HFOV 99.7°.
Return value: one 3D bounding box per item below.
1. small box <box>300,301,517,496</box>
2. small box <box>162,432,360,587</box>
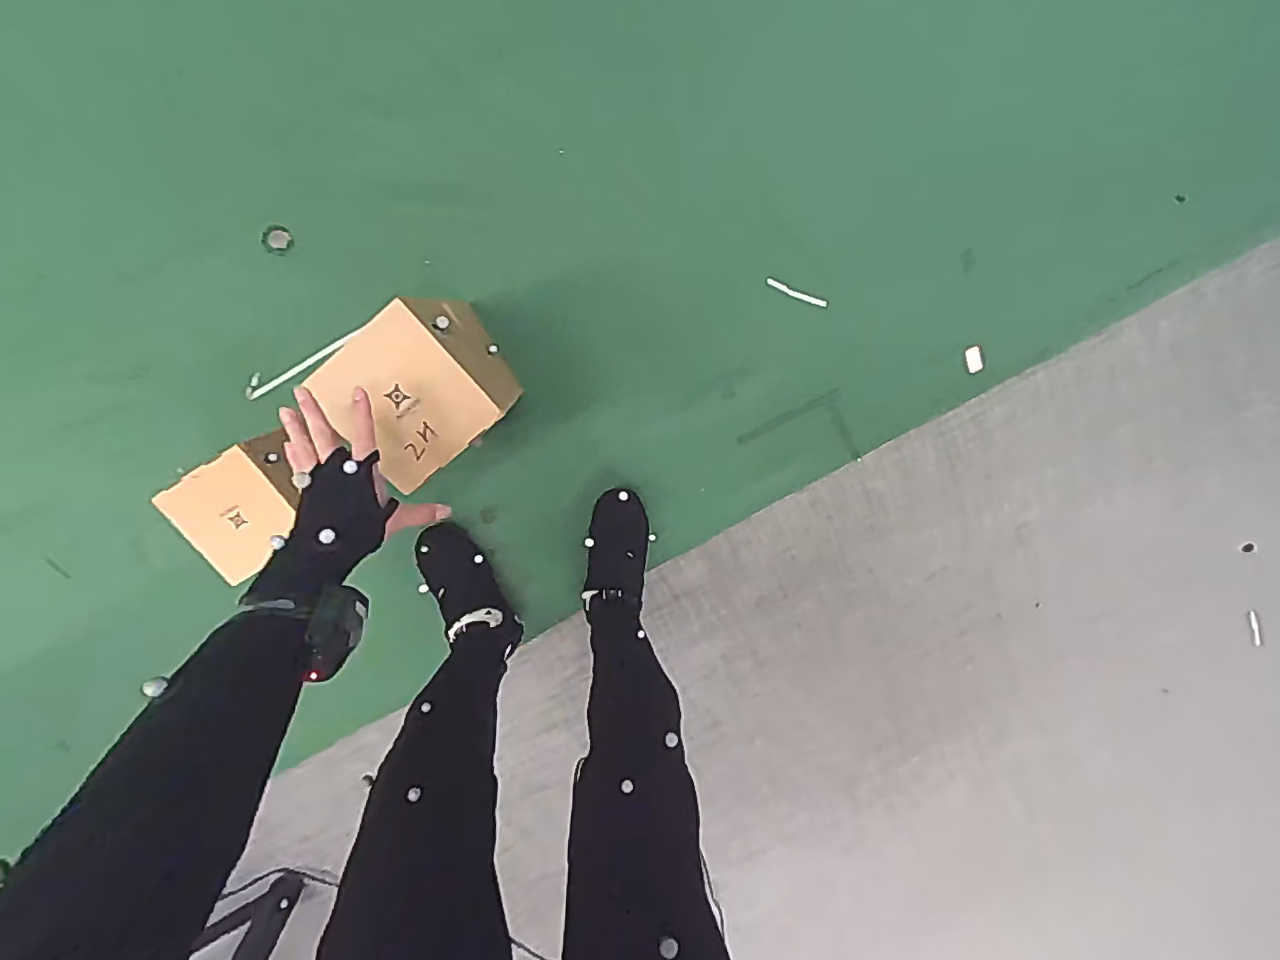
[{"bbox_3d":[-0.288,-0.112,0.717,0.168,0.176,0.179,-39,106,8],"label":"small box"},{"bbox_3d":[-0.617,0.041,0.910,0.168,0.176,0.179,-31,106,5],"label":"small box"}]
